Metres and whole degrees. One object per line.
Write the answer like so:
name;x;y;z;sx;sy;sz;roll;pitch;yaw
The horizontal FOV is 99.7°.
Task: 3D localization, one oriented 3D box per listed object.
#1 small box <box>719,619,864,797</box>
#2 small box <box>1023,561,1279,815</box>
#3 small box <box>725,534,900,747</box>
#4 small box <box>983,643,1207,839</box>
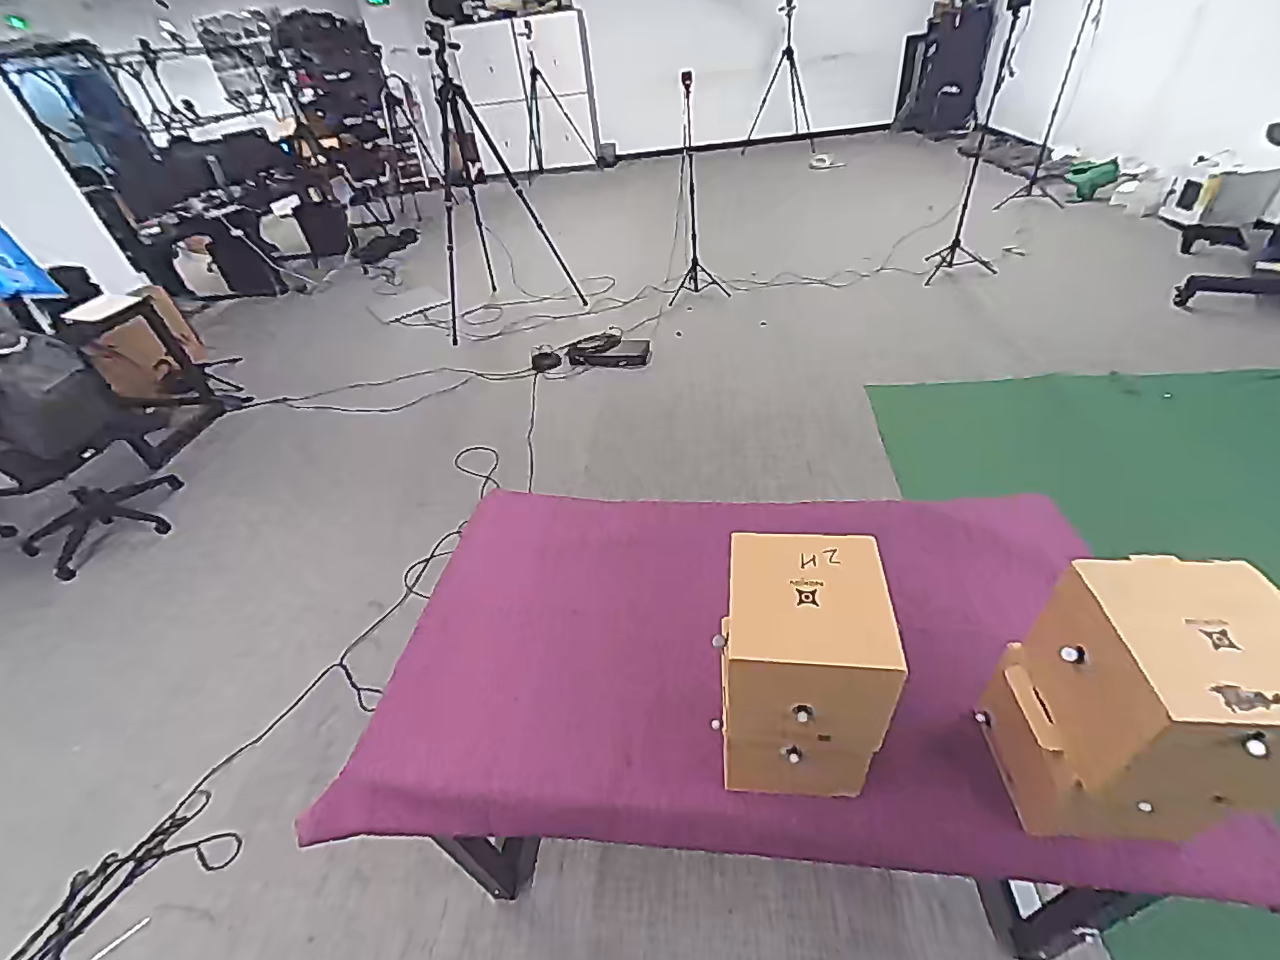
small box;0.200;0.308;0.737;0.179;0.176;0.168;-1;39;9
small box;0.528;0.203;0.544;0.168;0.176;0.179;-1;39;10
small box;0.187;0.185;0.630;0.168;0.176;0.179;1;40;11
small box;0.551;0.317;0.661;0.179;0.176;0.168;-2;40;7
